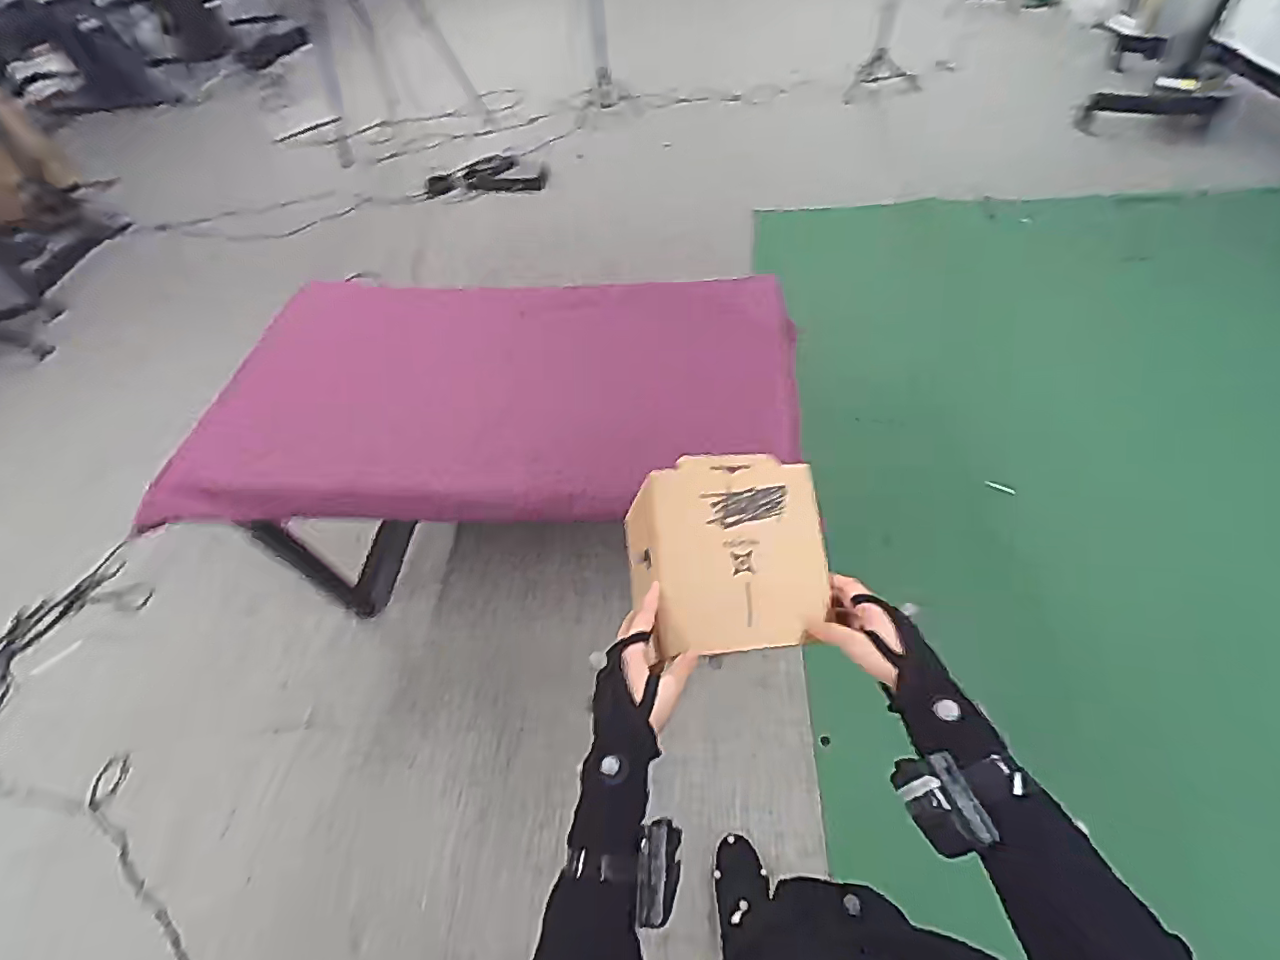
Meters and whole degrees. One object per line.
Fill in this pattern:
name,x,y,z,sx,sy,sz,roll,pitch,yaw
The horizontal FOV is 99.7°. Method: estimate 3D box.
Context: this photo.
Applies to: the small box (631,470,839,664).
small box,0.086,0.101,0.593,0.168,0.176,0.179,-3,70,-10
